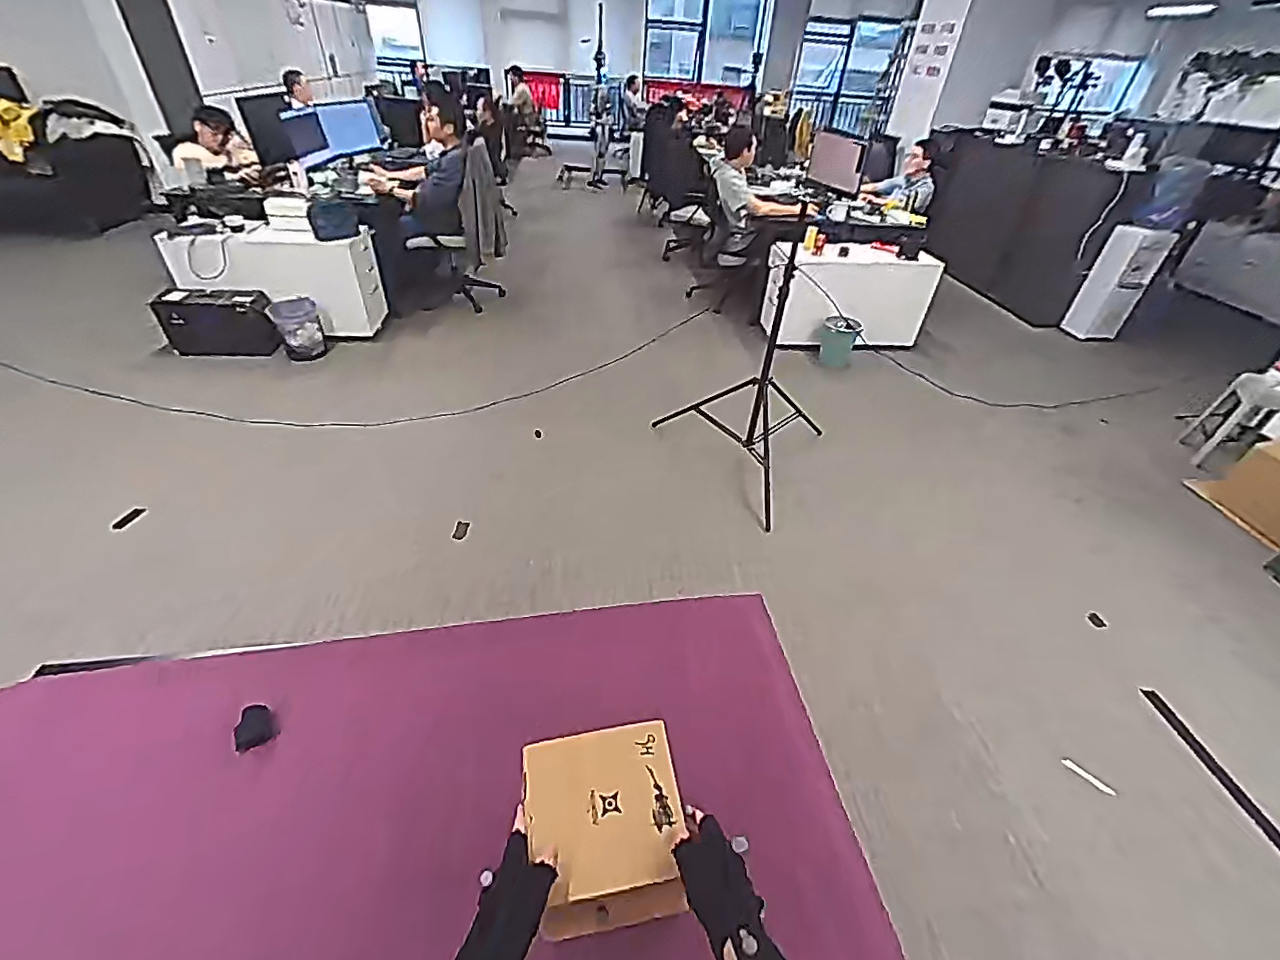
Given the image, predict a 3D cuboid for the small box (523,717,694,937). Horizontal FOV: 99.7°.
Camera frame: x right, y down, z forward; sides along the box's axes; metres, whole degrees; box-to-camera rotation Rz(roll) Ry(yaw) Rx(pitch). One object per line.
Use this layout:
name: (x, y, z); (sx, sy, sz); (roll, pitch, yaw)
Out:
small box: (-0.037, 0.419, 0.654); (0.179, 0.176, 0.168); (-9, 41, -6)
